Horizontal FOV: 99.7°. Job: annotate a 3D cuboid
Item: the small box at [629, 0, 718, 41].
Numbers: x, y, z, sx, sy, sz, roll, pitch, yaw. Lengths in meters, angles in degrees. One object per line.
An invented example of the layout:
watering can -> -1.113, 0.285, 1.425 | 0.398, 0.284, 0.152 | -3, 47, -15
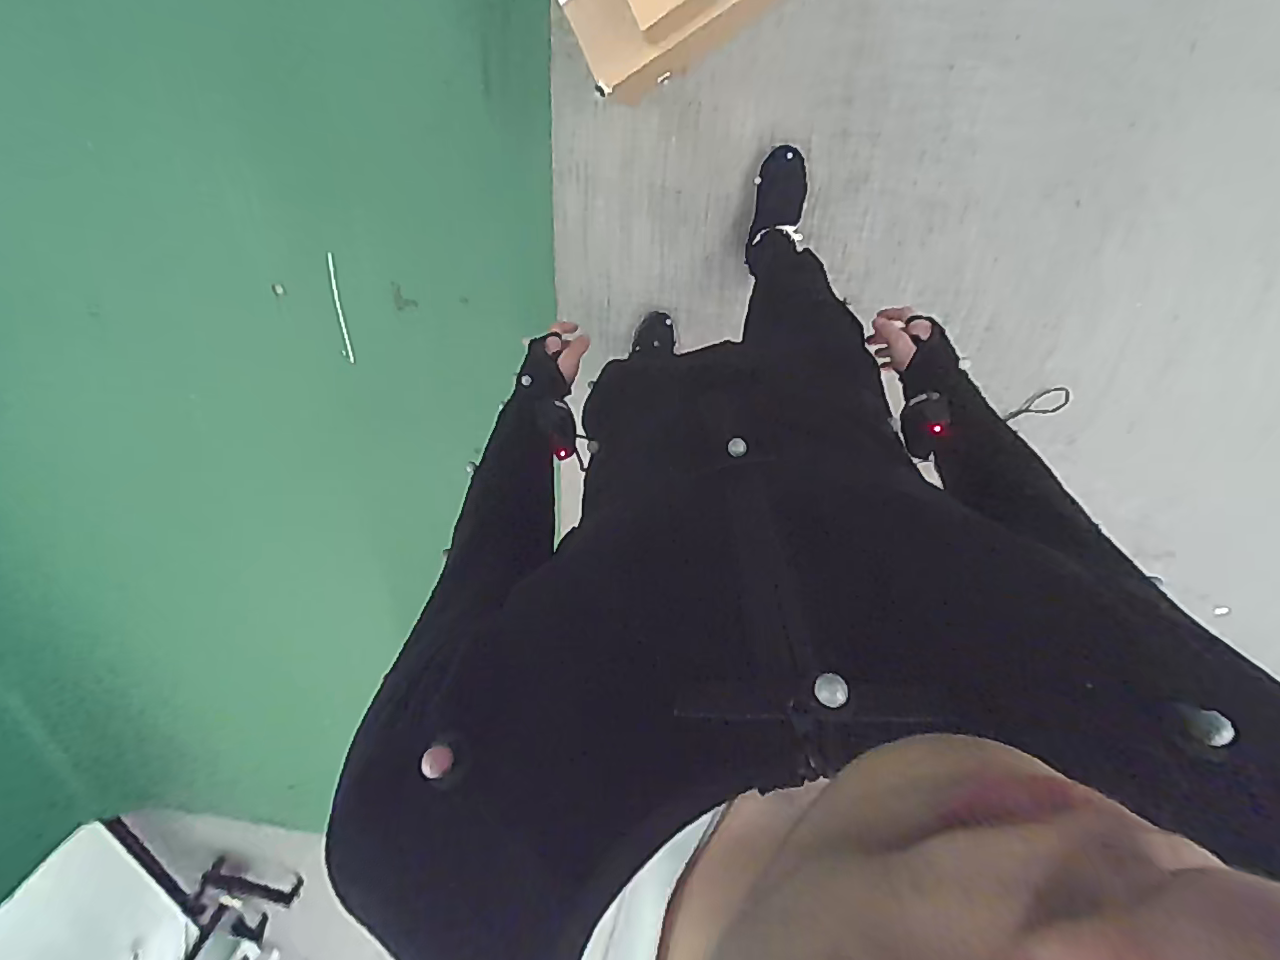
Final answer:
small box -> 0.049, -0.807, 0.811 | 0.179, 0.176, 0.168 | -21, 117, 20

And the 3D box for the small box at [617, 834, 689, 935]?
small box -> 0.038, 1.122, 1.508 | 0.179, 0.176, 0.168 | 6, 121, 3
